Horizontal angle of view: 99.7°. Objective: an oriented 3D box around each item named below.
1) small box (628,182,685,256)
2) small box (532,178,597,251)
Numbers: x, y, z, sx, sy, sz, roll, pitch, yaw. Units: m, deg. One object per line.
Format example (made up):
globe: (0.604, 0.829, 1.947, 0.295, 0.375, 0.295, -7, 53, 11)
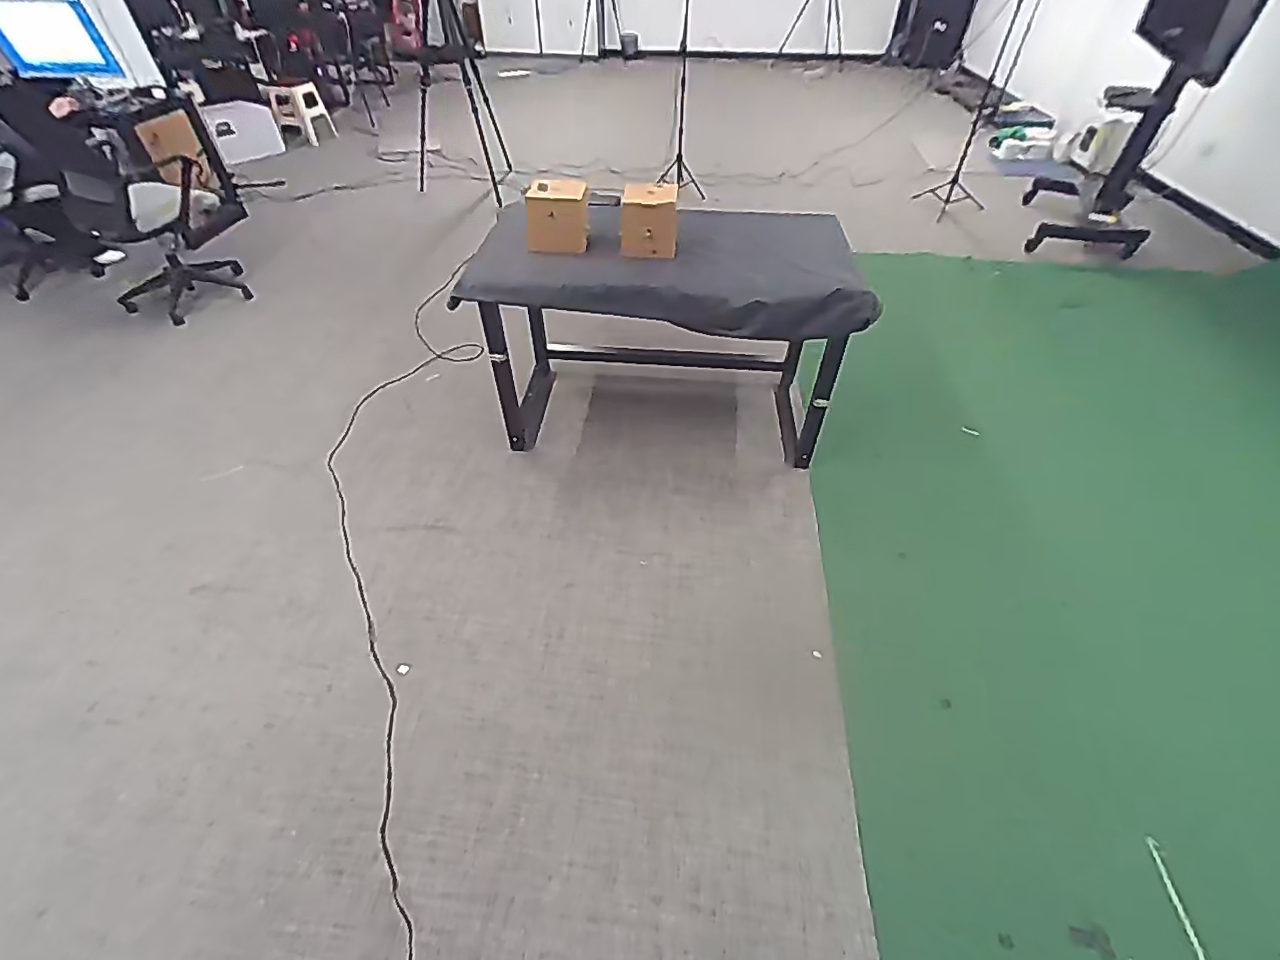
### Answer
small box: (0.054, -0.831, 1.726, 0.168, 0.176, 0.179, 4, 46, 3)
small box: (-0.238, -0.856, 1.745, 0.179, 0.176, 0.168, 4, 46, 1)
